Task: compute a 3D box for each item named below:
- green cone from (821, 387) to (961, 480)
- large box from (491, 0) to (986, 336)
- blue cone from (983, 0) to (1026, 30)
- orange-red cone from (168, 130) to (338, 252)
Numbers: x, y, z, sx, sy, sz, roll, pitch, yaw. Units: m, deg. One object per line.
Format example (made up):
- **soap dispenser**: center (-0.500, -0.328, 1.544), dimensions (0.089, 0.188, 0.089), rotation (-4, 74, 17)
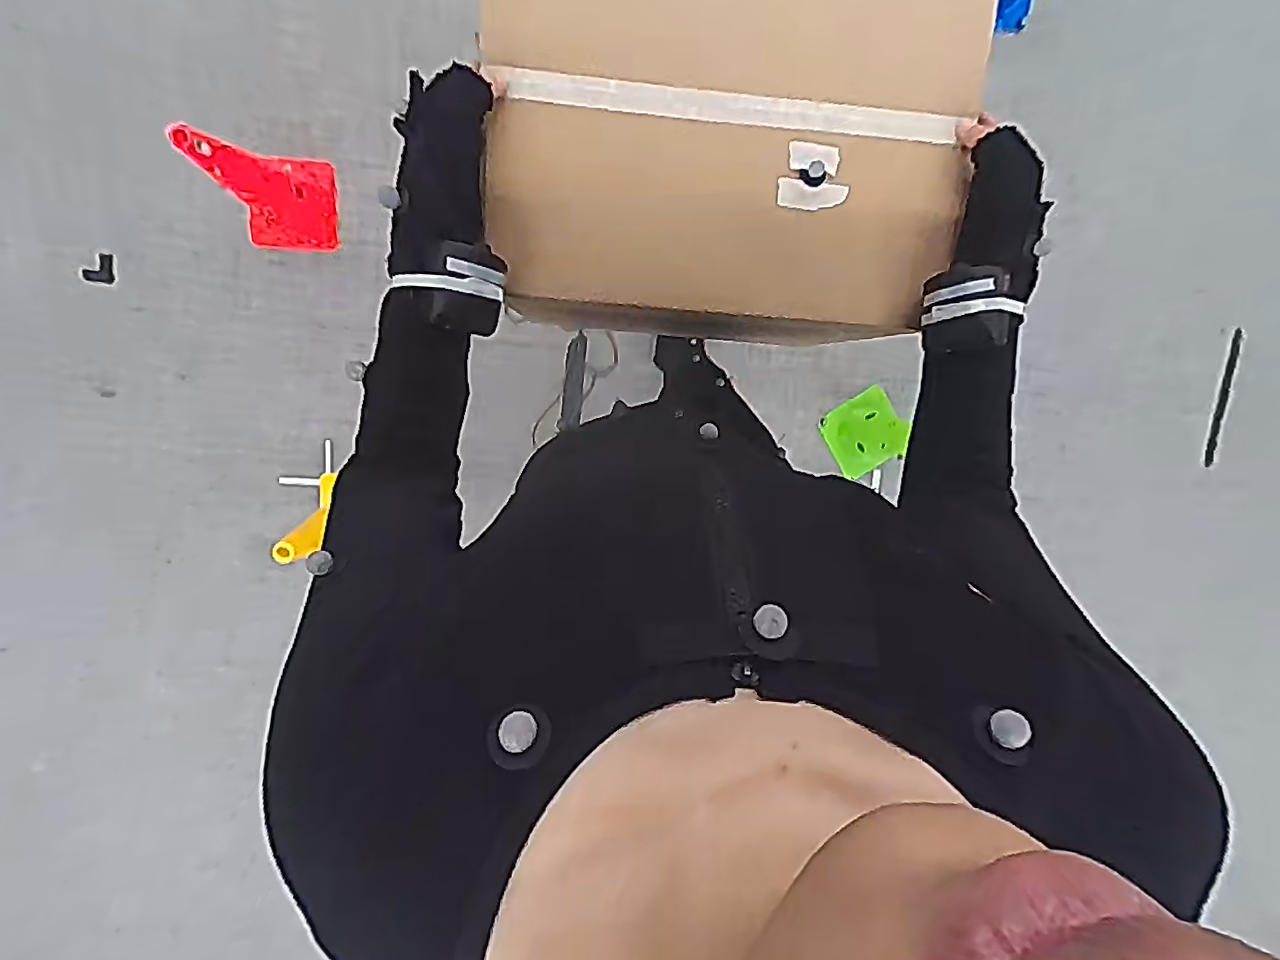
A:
- **green cone**: center (0.630, -0.098, 1.303), dimensions (0.202, 0.368, 0.200), rotation (-33, 101, 0)
- **large box**: center (0.066, -0.336, 0.588), dimensions (0.408, 0.320, 0.320), rotation (3, 101, -5)
- **blue cone**: center (0.888, -1.191, 1.161), dimensions (0.192, 0.380, 0.193), rotation (8, 99, -7)
- **orange-red cone**: center (-0.805, -0.614, 1.104), dimensions (0.198, 0.360, 0.199), rotation (2, 101, -4)
